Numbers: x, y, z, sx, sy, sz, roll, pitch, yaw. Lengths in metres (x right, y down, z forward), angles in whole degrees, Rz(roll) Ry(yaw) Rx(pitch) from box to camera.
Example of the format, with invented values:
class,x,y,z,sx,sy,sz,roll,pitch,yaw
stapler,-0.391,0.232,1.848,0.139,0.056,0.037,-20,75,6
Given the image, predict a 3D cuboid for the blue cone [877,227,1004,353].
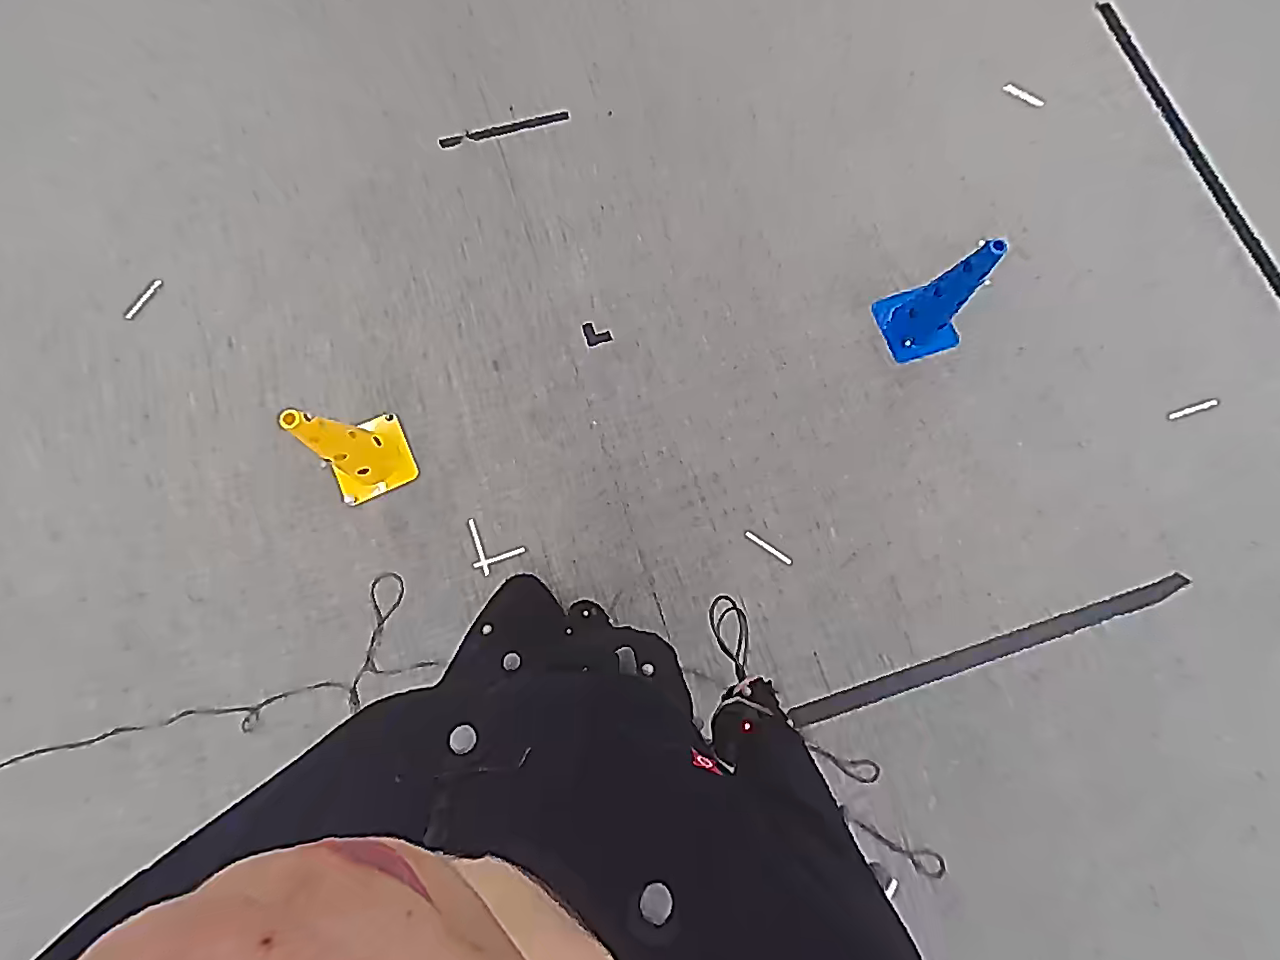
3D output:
class,x,y,z,sx,sy,sz,roll,pitch,yaw
blue cone,0.780,-0.488,1.356,0.193,0.380,0.192,-17,79,-4
